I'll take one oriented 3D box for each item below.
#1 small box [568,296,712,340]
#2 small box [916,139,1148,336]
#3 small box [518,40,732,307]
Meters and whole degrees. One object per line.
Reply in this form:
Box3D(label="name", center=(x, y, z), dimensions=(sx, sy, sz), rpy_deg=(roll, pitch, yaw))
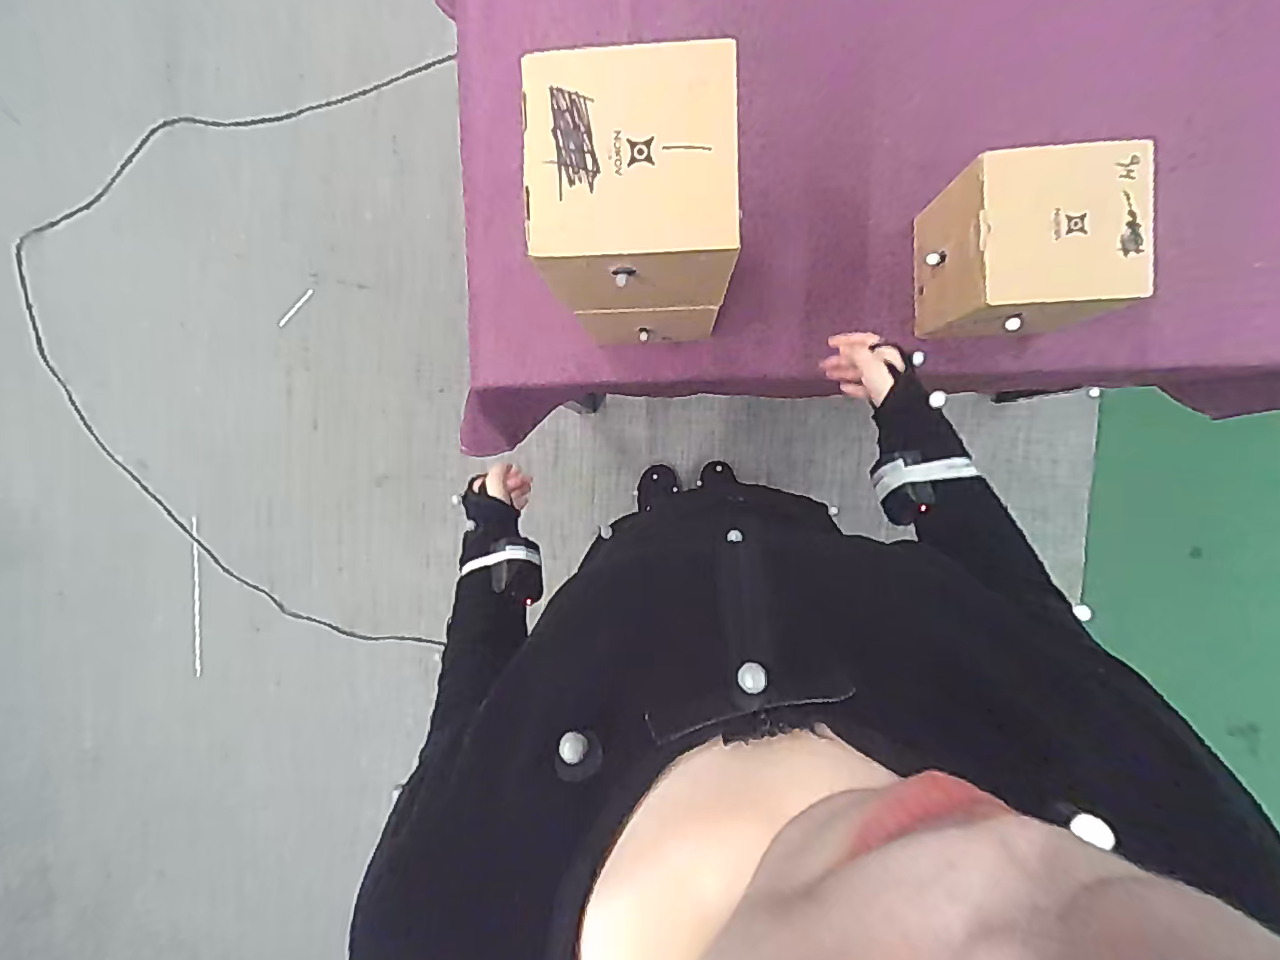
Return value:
Box3D(label="small box", center=(0.005, -0.278, 0.682), dimensions=(0.168, 0.176, 0.179), rpy_deg=(-1, 92, 3))
Box3D(label="small box", center=(0.452, -0.275, 0.652), dimensions=(0.179, 0.176, 0.168), rpy_deg=(-2, 92, 5))
Box3D(label="small box", center=(-0.007, -0.270, 0.517), dimensions=(0.179, 0.176, 0.168), rpy_deg=(-1, 93, 3))
